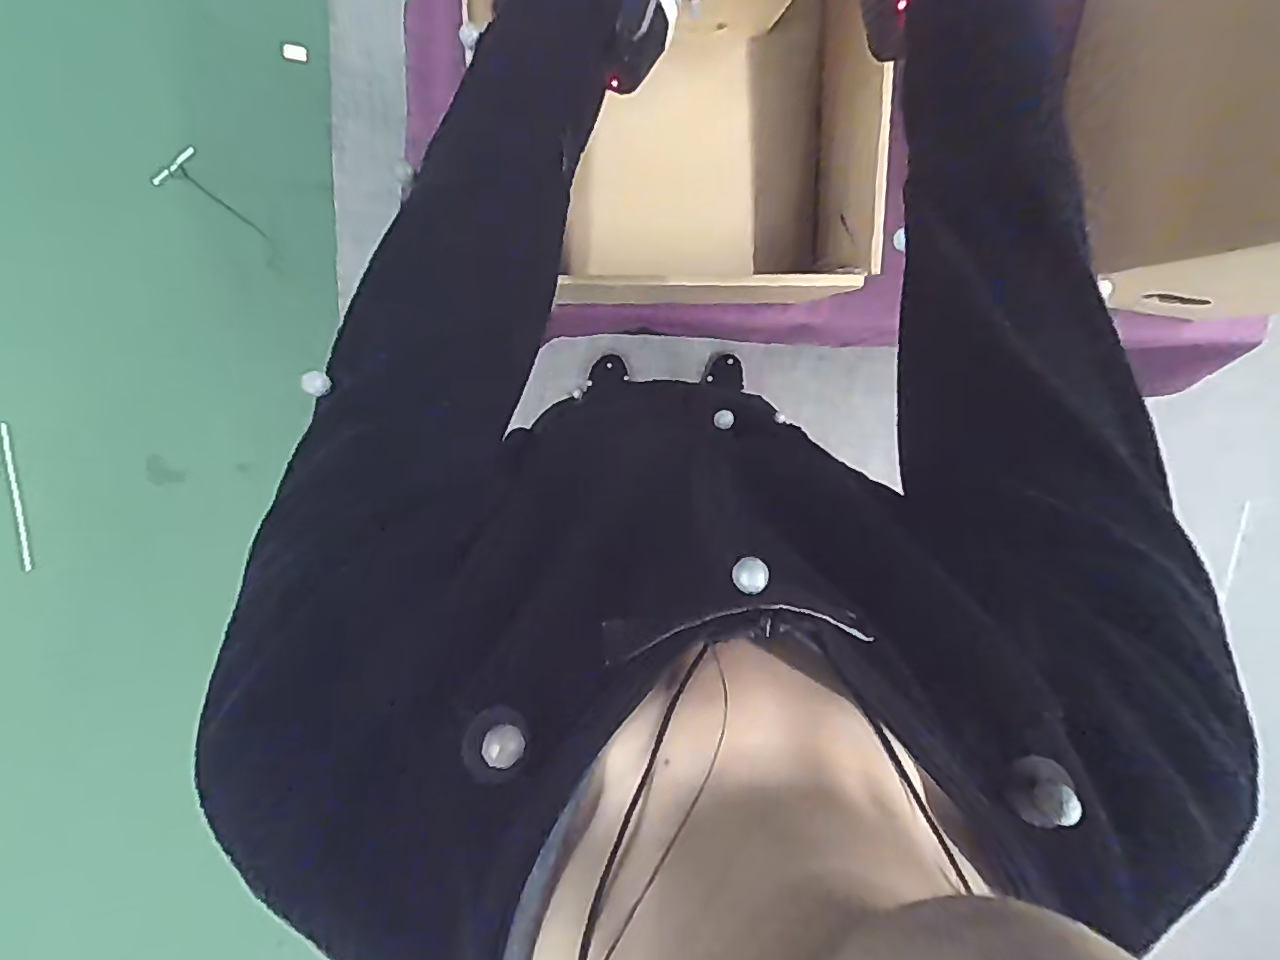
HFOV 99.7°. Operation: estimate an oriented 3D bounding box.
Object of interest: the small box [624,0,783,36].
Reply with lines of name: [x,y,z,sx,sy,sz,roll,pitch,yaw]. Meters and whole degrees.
small box: [0.067,-0.559,0.517,0.168,0.176,0.179,-4,109,-4]
